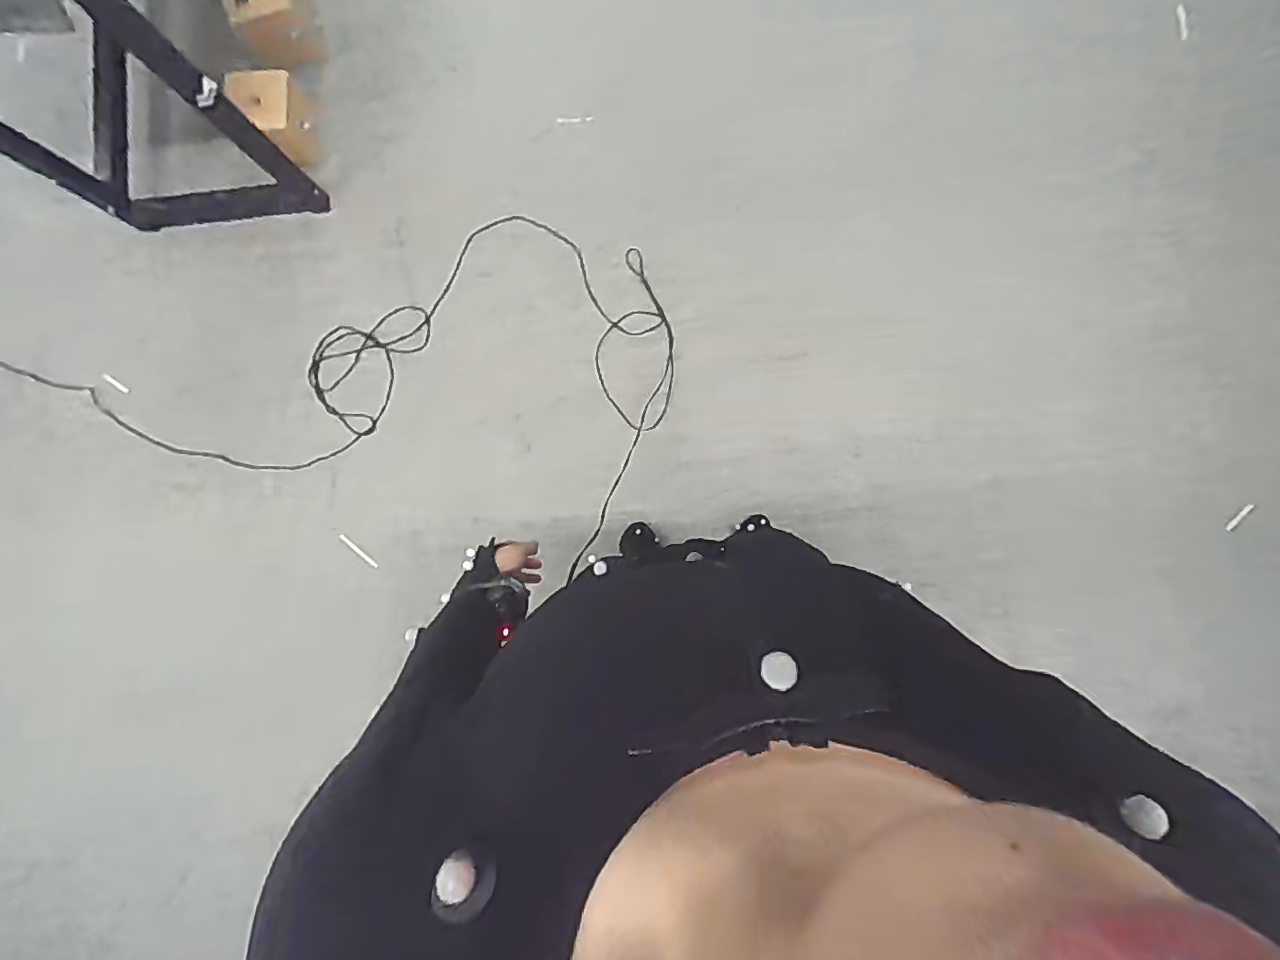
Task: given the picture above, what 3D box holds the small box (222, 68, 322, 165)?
[{"bbox_3d":[-1.026,-1.014,1.520,0.179,0.176,0.168,-1,87,2],"label":"small box"}]
